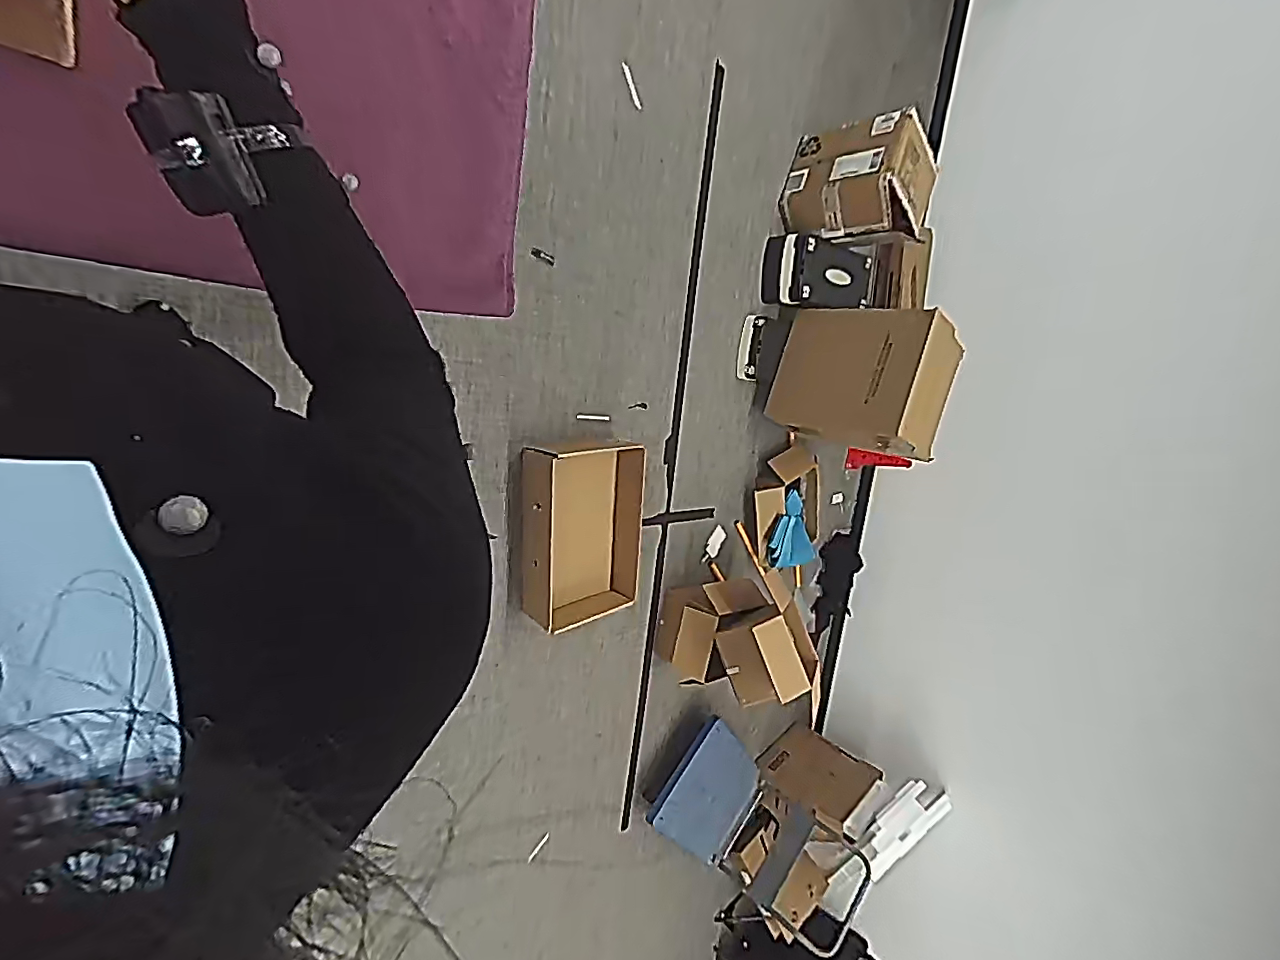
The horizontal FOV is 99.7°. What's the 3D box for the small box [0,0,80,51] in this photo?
[{"bbox_3d":[-0.520,-0.446,0.378,0.179,0.176,0.168,-2,104,-44],"label":"small box"}]
